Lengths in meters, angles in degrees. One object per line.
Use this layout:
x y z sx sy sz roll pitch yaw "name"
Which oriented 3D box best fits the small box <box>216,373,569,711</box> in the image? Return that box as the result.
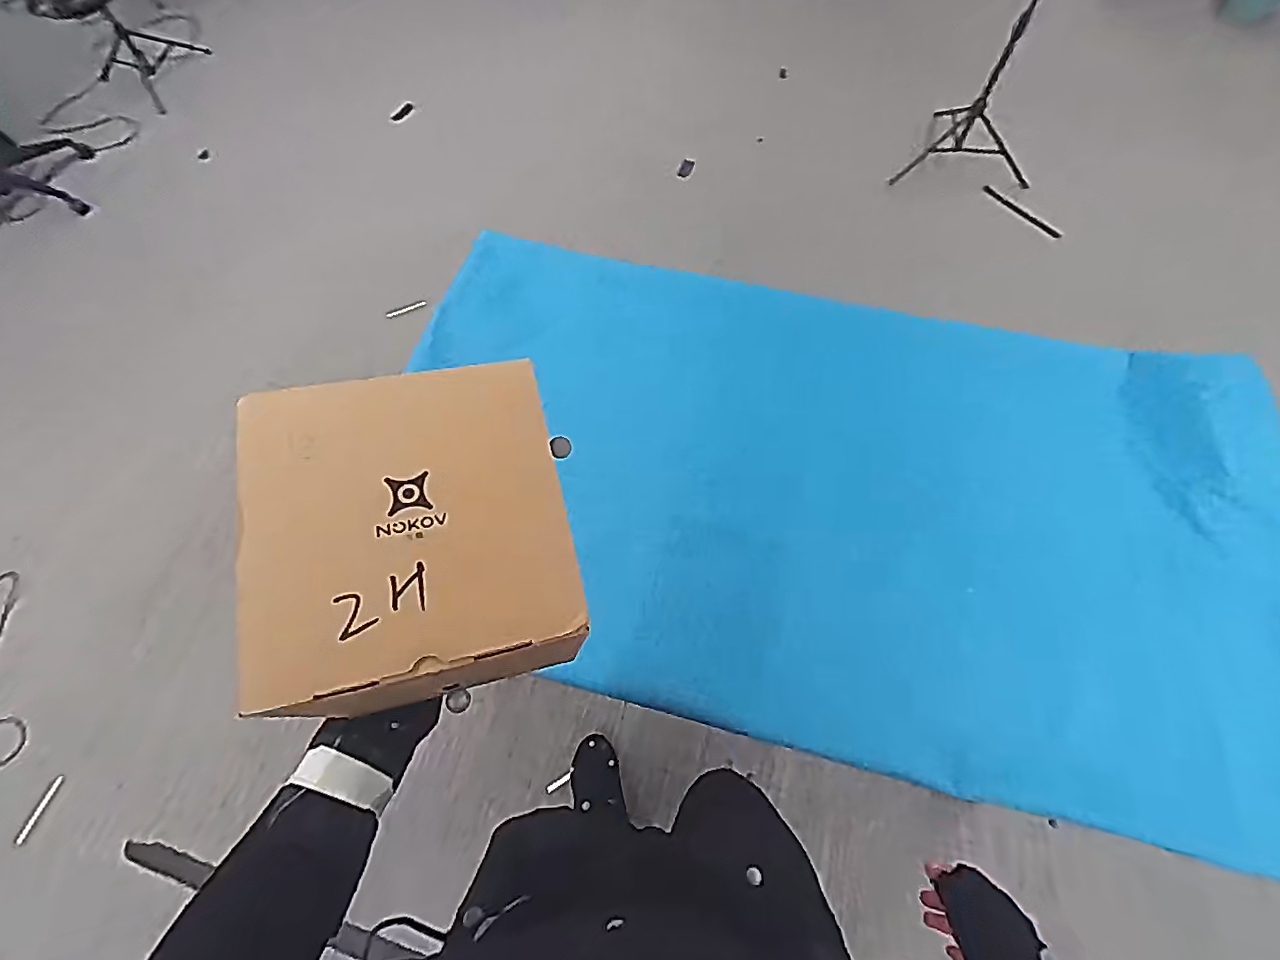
-0.143 0.049 0.368 0.168 0.176 0.179 -7 71 -11 "small box"
